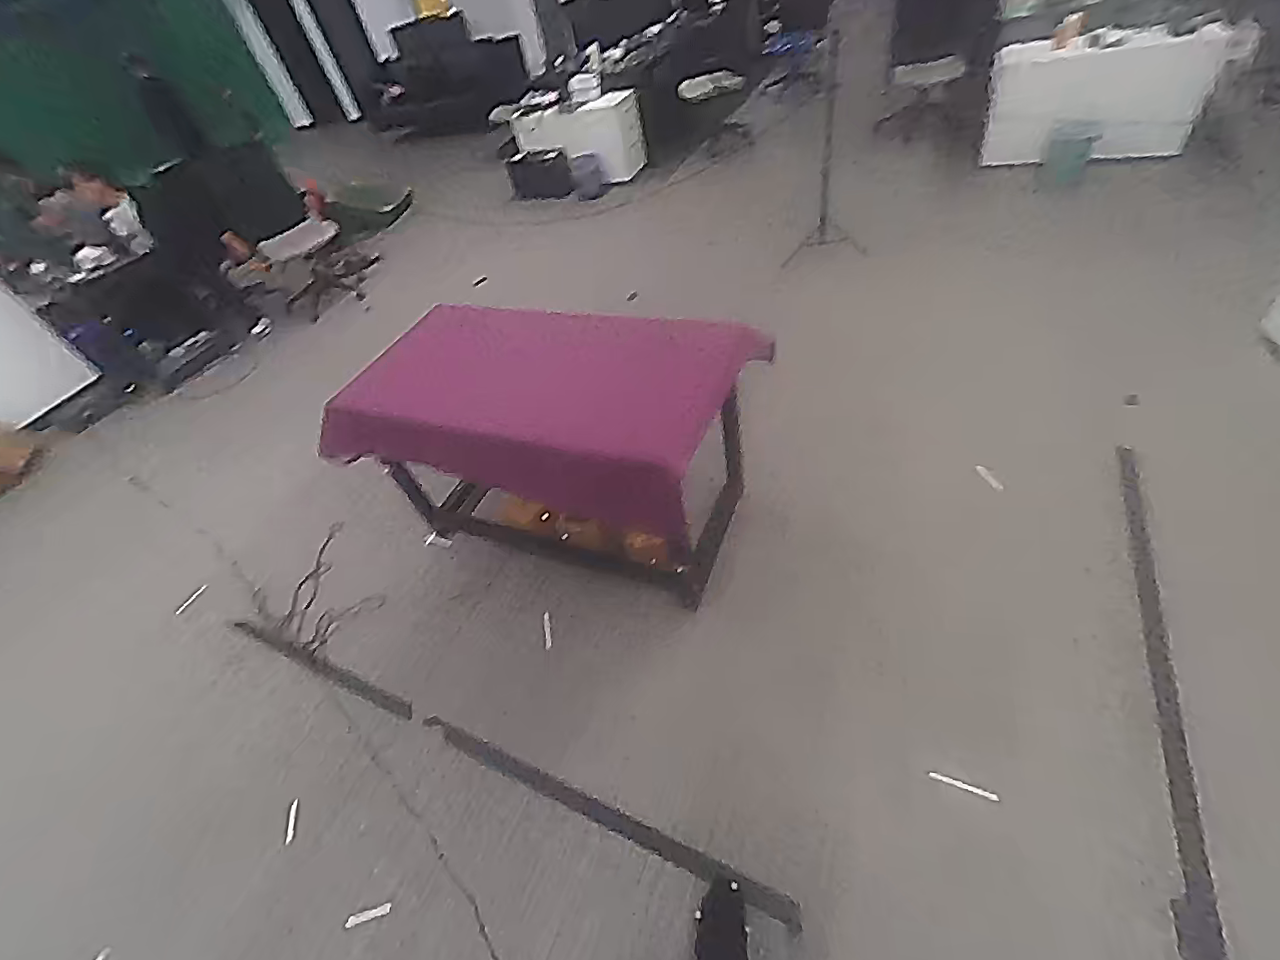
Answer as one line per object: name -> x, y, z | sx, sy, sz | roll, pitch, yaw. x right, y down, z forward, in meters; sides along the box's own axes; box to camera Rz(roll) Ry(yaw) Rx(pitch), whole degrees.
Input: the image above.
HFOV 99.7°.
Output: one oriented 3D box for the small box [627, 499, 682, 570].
small box -> 0.052, 0.200, 1.962 | 0.168, 0.176, 0.179 | -11, 46, 6
